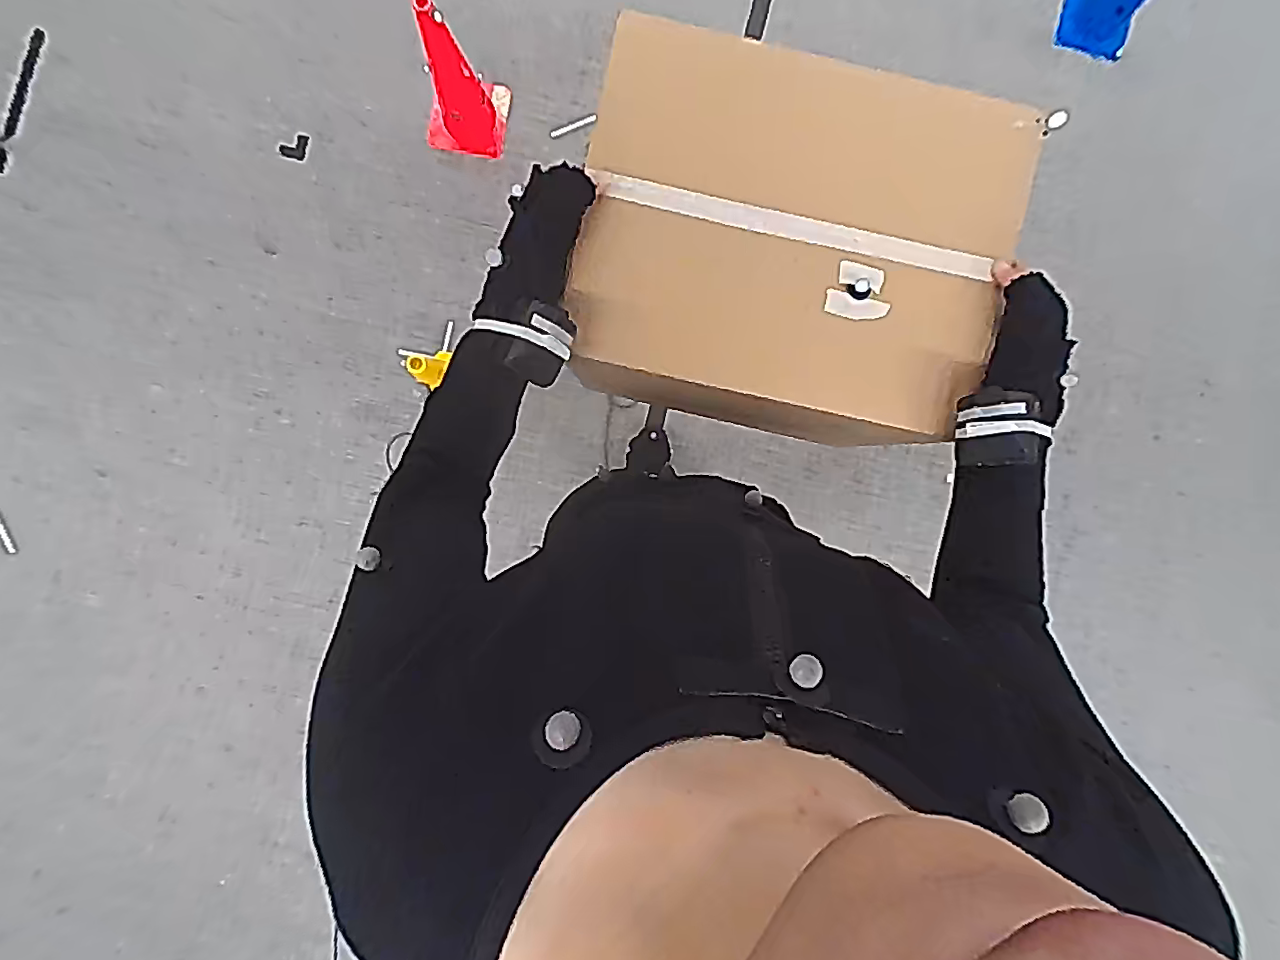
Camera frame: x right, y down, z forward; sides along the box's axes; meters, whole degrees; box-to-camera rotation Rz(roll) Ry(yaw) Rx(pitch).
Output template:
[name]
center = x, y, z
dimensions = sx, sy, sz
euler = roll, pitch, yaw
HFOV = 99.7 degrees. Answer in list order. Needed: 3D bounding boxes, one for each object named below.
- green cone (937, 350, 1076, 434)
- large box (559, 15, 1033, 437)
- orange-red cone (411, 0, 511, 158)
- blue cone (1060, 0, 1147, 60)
[green cone]
center = 0.894, -0.249, 1.327
dimensions = 0.202, 0.368, 0.200
euler = -24, 91, -3
[large box]
center = 0.141, -0.246, 0.653
dimensions = 0.408, 0.320, 0.320
euler = 12, 93, -2
[orange-red cone]
center = -0.457, -0.982, 1.294
dimensions = 0.198, 0.360, 0.199
euler = 11, 90, -1
[blue cone]
center = 1.302, -1.304, 1.369
dimensions = 0.192, 0.380, 0.193
euler = 17, 89, -3
